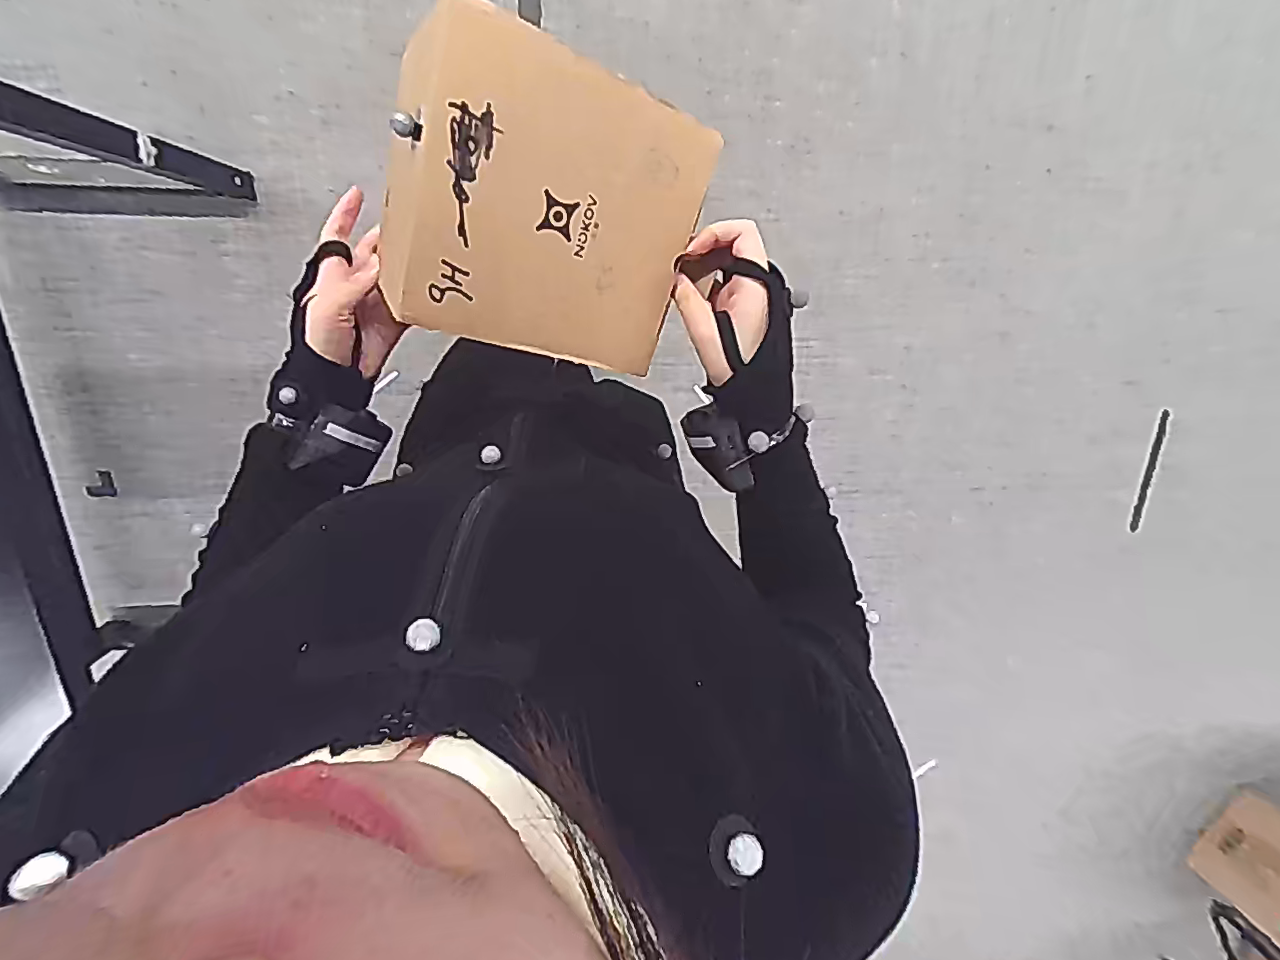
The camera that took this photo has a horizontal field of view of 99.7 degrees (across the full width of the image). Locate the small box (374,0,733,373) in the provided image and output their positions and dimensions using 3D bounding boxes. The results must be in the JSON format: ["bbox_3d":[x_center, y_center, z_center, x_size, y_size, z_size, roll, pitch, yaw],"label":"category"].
[{"bbox_3d":[-0.074,-0.193,0.382,0.179,0.176,0.168,7,112,-34],"label":"small box"}]
